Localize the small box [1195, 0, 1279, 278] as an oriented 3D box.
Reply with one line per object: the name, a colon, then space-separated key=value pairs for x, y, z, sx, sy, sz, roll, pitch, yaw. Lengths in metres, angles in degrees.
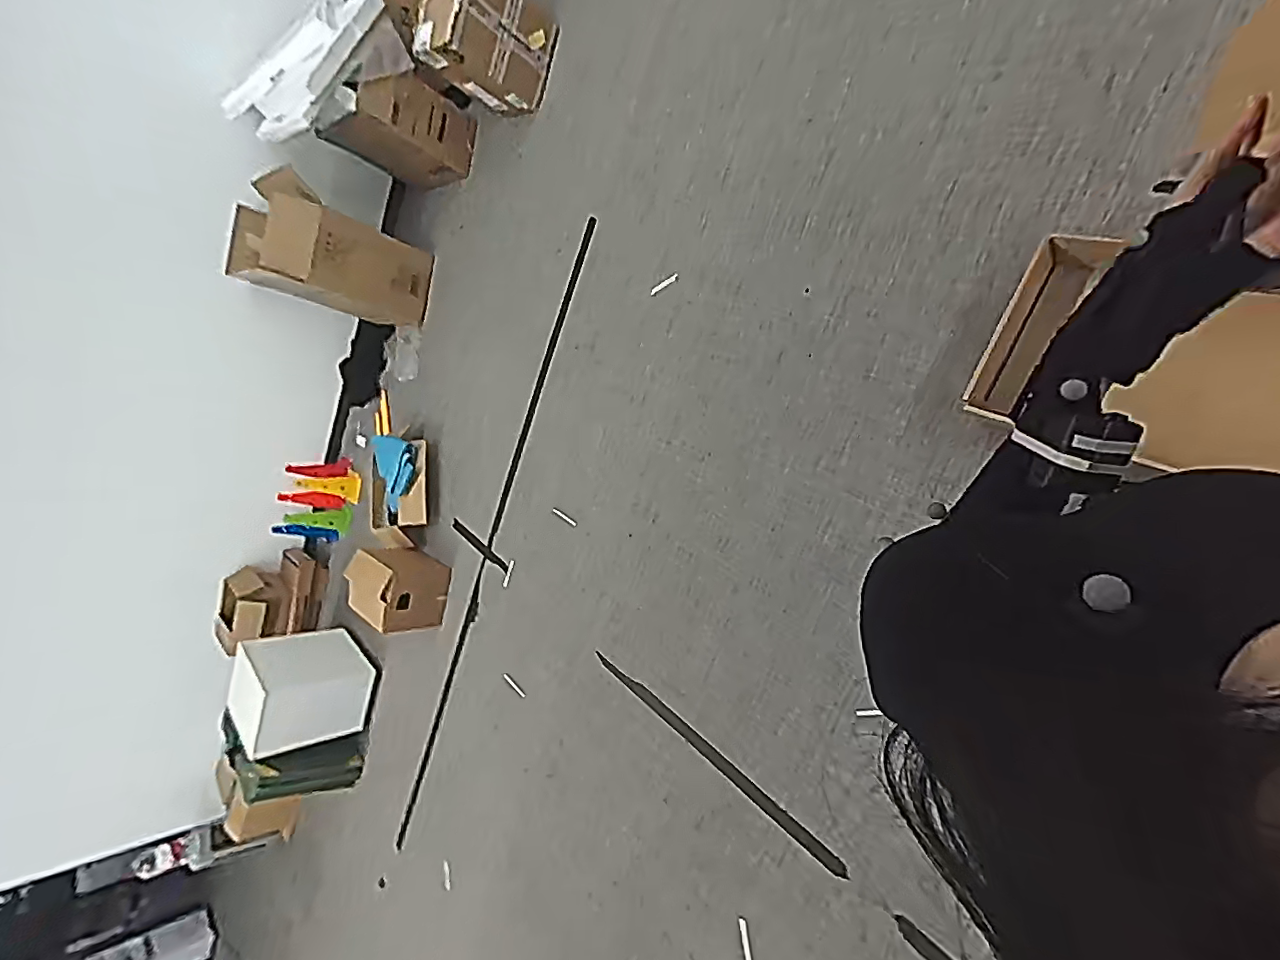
small box: x=0.474 y=-0.226 z=0.311 sx=0.168 sy=0.176 sz=0.179 roll=4 pitch=94 yaw=23
